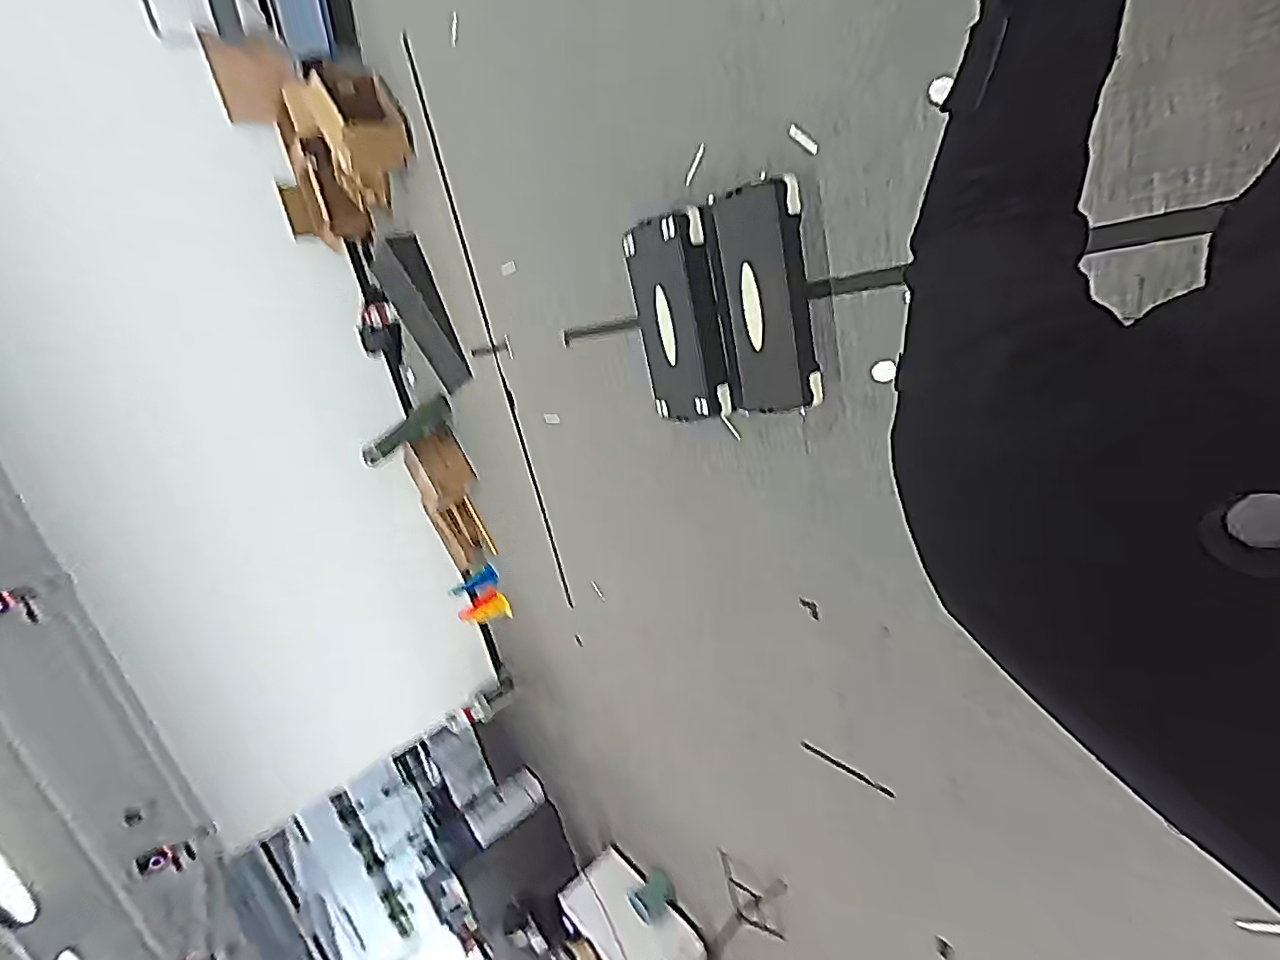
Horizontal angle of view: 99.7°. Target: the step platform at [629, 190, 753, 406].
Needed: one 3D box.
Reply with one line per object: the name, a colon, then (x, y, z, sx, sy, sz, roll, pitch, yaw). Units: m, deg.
step platform: (0.173, -0.597, 1.846, 0.286, 0.204, 0.684, 8, 115, 51)
